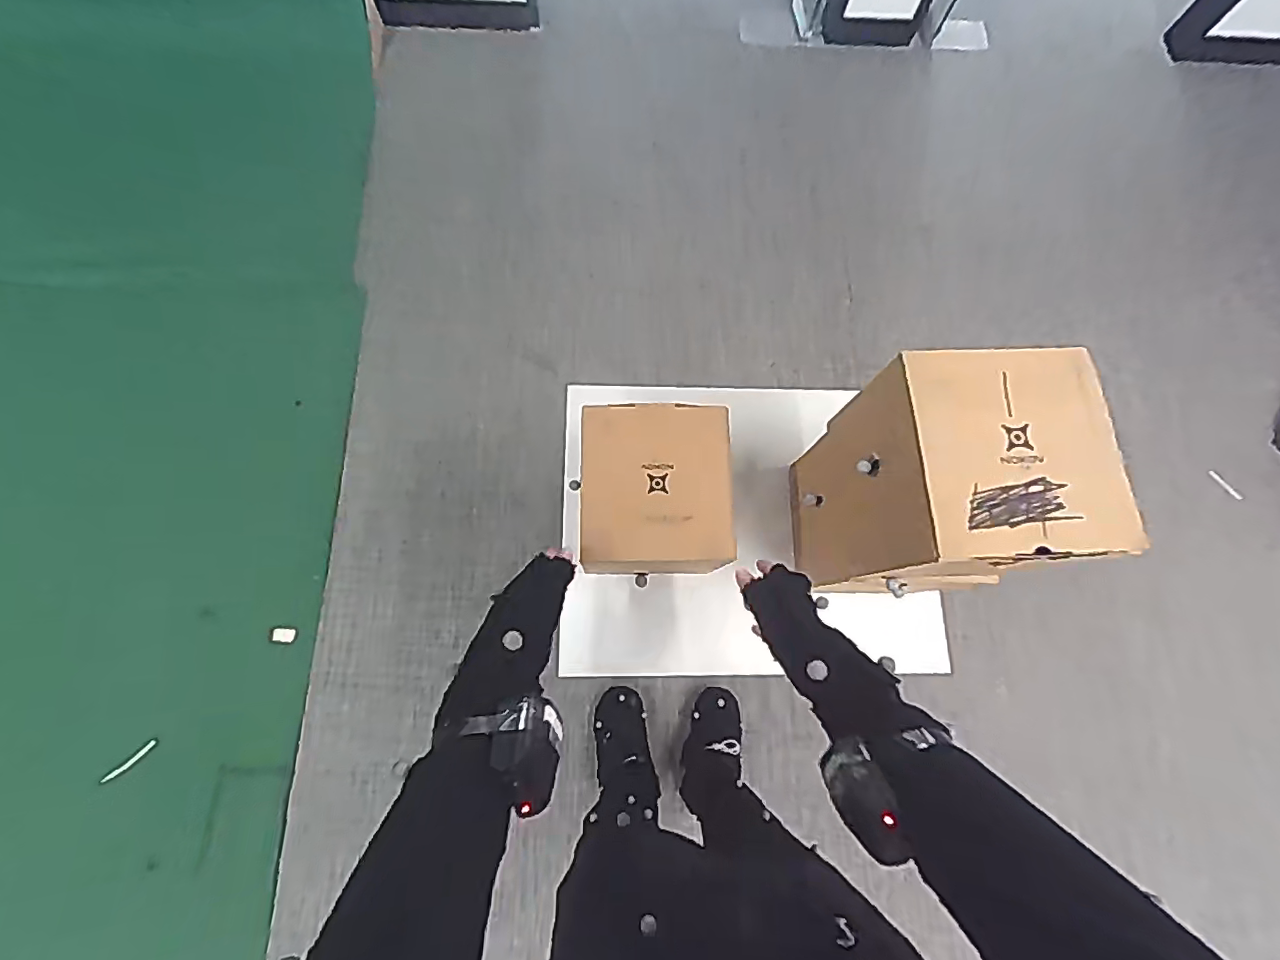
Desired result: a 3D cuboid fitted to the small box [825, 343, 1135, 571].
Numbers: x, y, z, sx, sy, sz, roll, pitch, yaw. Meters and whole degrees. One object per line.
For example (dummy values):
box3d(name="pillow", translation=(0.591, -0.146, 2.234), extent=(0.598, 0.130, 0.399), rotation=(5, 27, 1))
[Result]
box3d(name="small box", translation=(0.290, -0.008, 0.508), extent=(0.168, 0.176, 0.179), rotation=(-3, 75, -3))

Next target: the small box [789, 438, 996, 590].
box3d(name="small box", translation=(0.290, 0.040, 0.665), extent=(0.168, 0.176, 0.179), rotation=(0, 75, -2))

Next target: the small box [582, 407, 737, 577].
box3d(name="small box", translation=(0.013, 0.022, 0.662), extent=(0.168, 0.176, 0.179), rotation=(-2, 77, -4))
